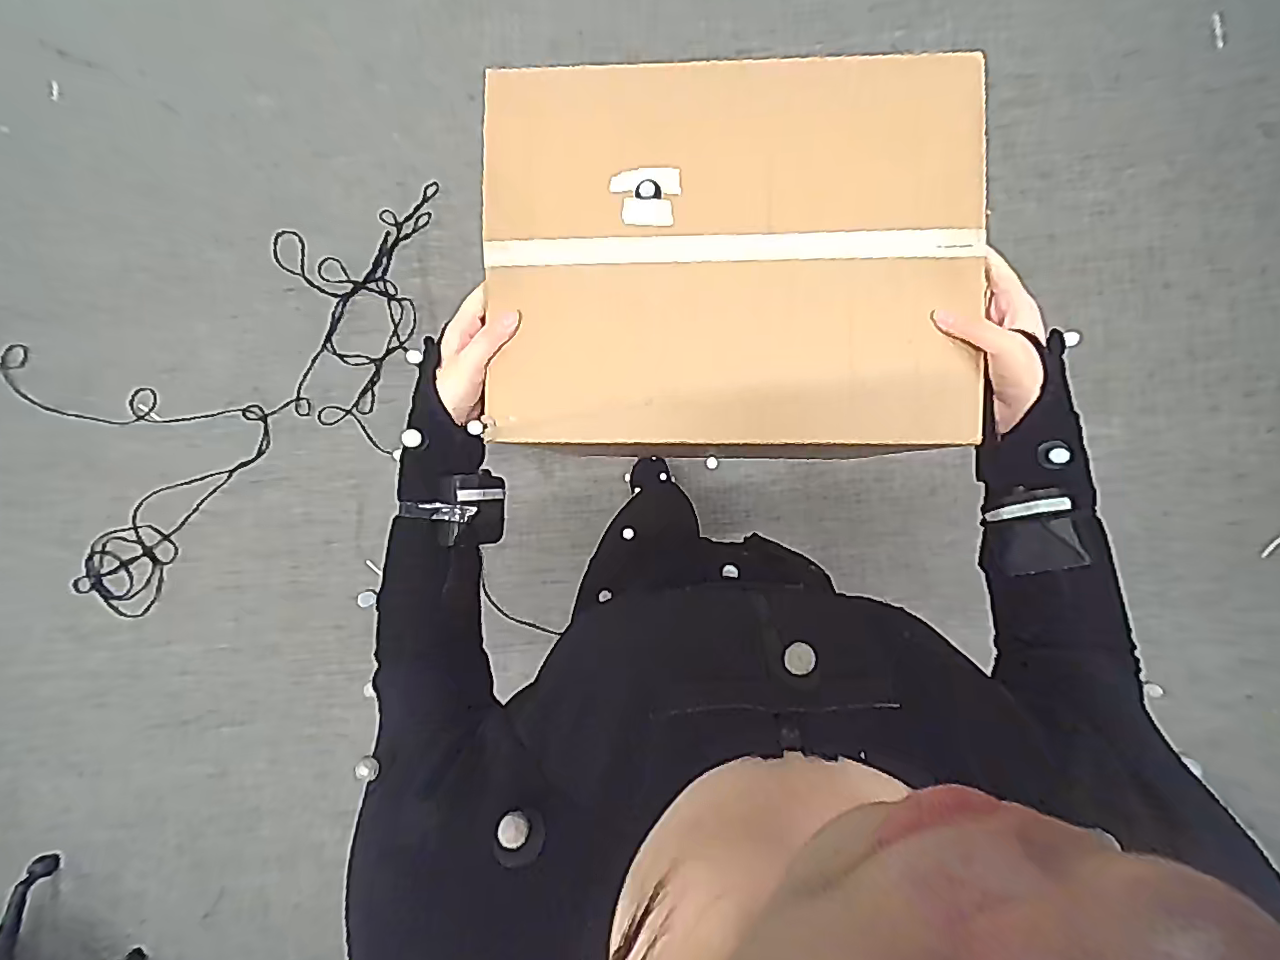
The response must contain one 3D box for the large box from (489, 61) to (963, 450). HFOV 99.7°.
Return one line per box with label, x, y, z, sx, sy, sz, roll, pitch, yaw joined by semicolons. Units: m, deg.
large box;0.080;-0.191;0.607;0.408;0.320;0.320;0;91;5
